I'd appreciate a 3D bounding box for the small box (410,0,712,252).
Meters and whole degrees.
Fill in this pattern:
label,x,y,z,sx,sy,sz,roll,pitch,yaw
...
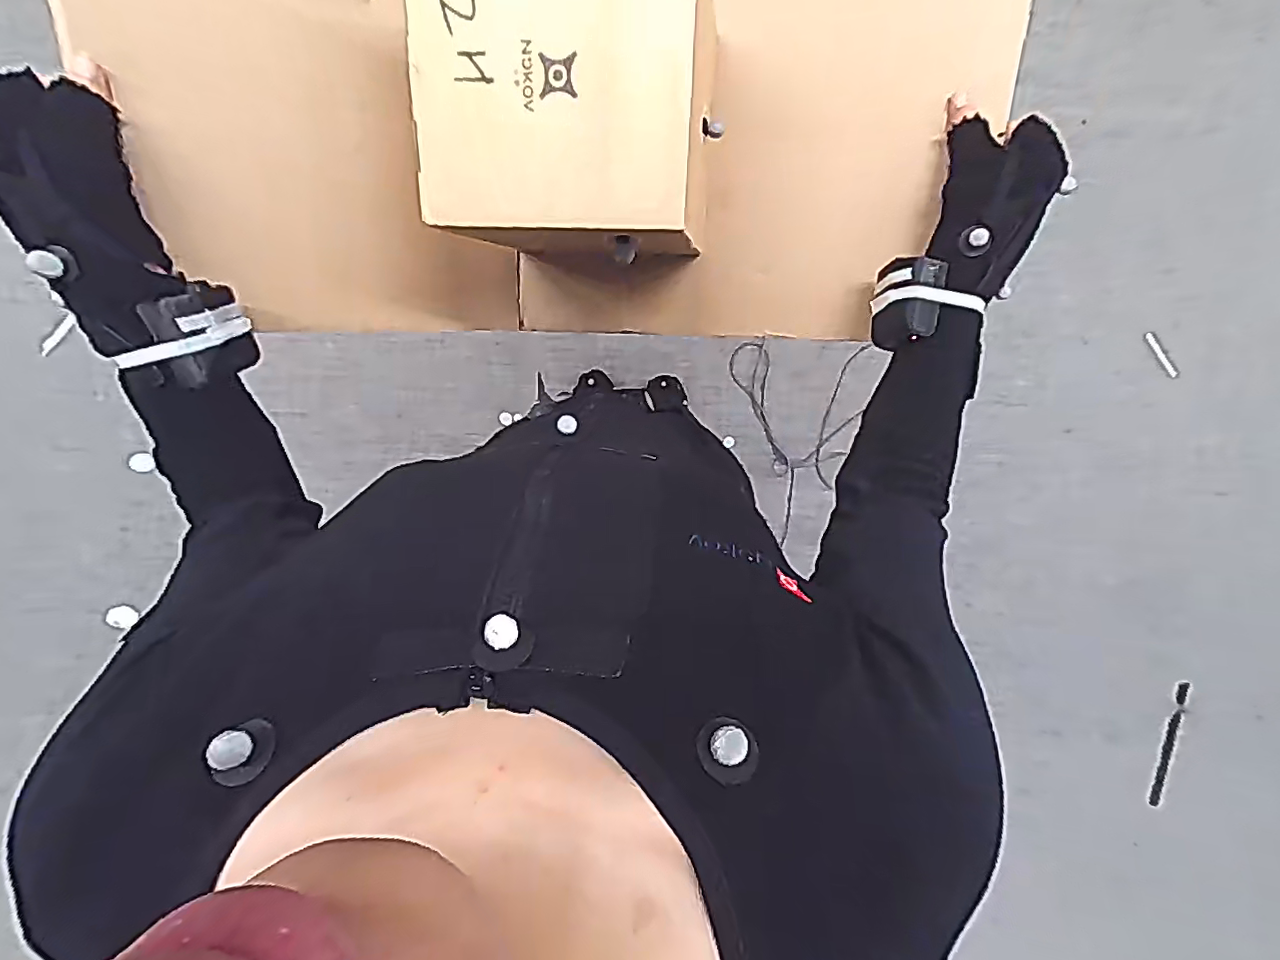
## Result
label,x,y,z,sx,sy,sz,roll,pitch,yaw
small box,-0.041,-0.267,0.401,0.179,0.176,0.168,6,108,9
